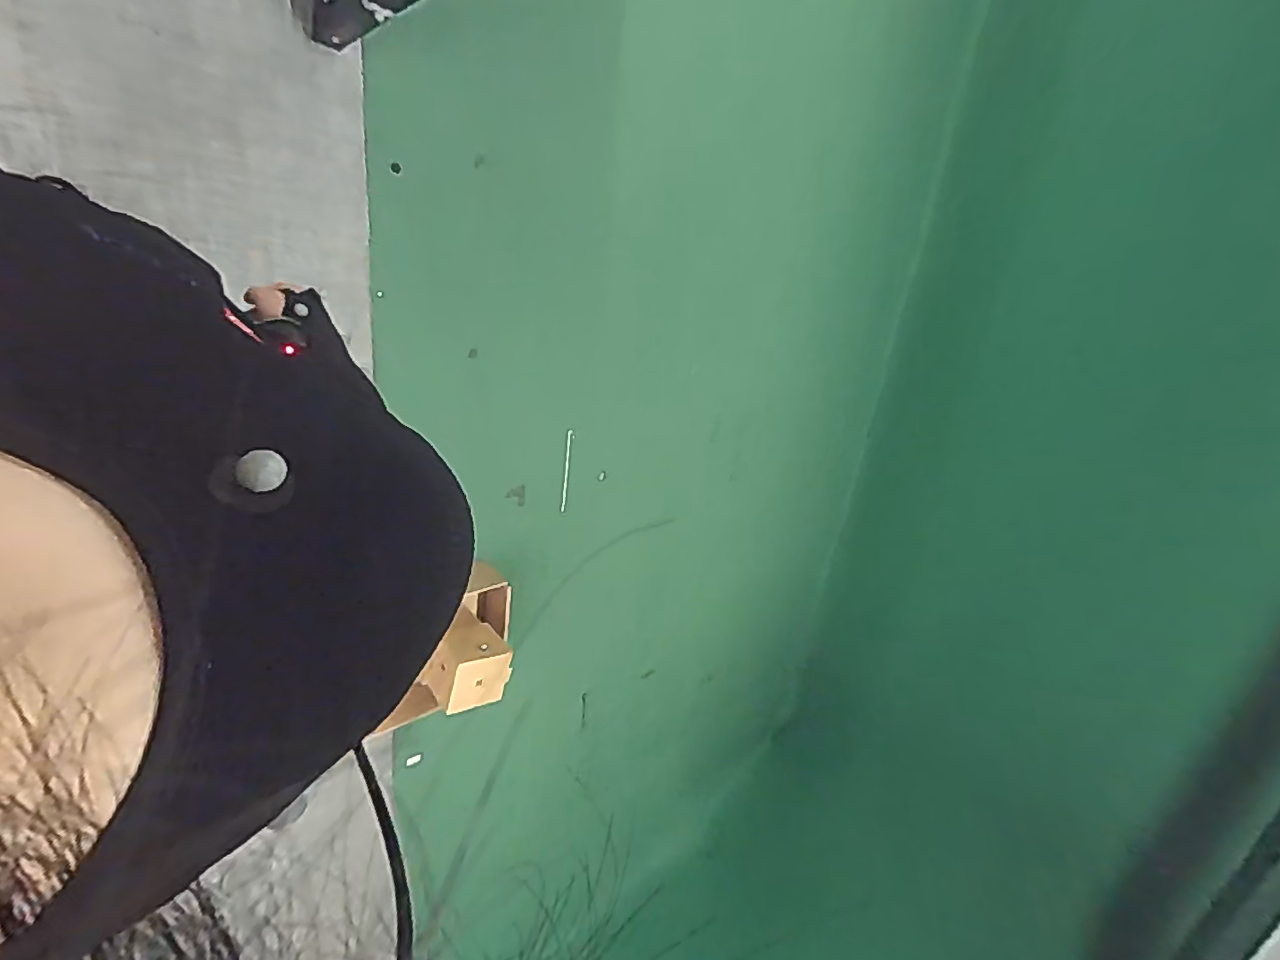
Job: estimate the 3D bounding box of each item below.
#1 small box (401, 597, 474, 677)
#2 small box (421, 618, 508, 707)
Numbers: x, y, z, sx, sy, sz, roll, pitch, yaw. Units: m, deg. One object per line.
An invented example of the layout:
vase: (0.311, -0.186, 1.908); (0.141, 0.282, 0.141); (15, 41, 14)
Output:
small box: (-0.630, 0.489, 1.702); (0.168, 0.176, 0.179); (10, 103, -48)
small box: (-0.520, 0.526, 1.586); (0.179, 0.176, 0.168); (2, 109, -46)
